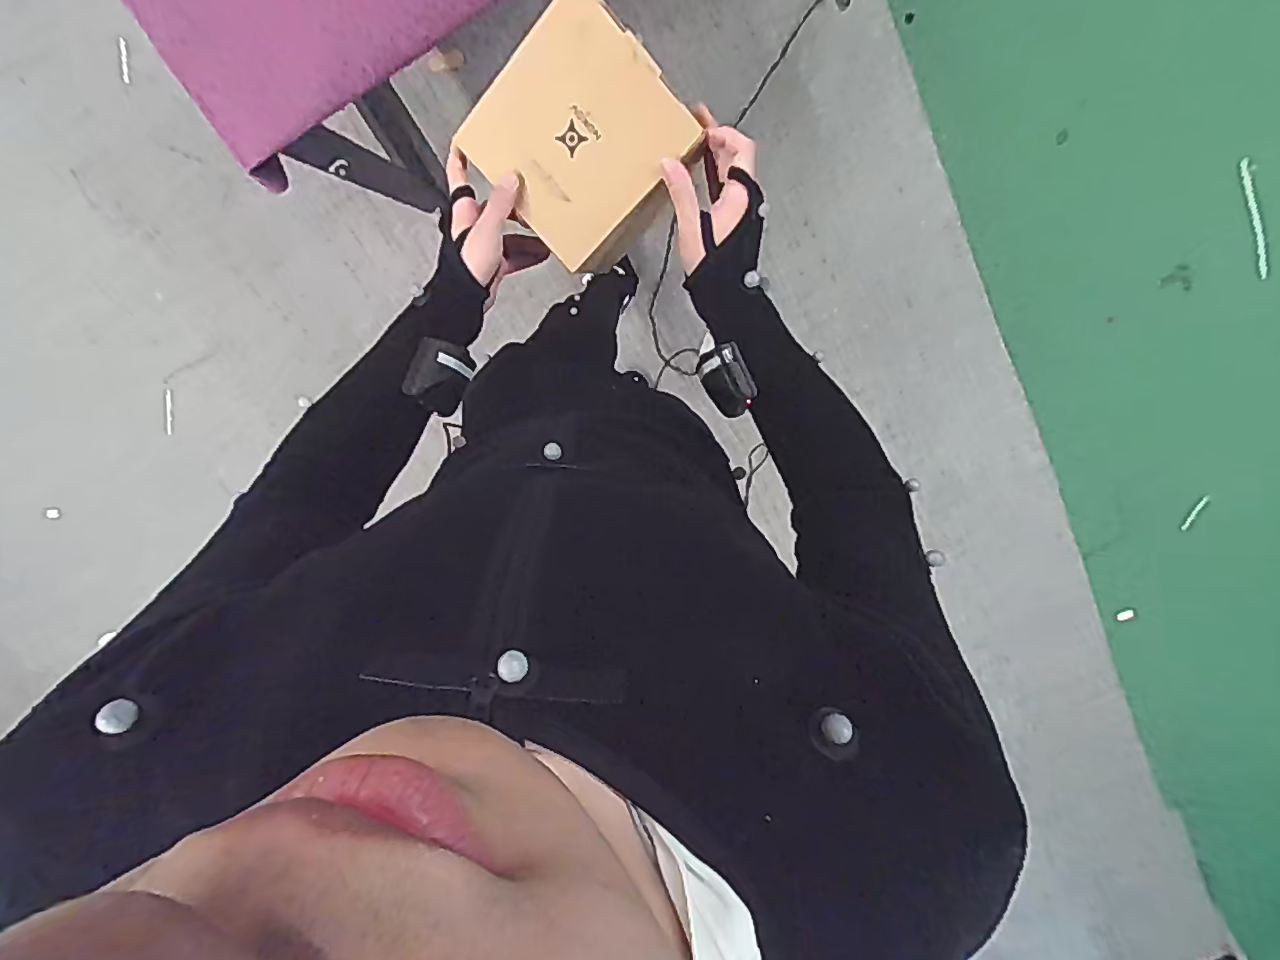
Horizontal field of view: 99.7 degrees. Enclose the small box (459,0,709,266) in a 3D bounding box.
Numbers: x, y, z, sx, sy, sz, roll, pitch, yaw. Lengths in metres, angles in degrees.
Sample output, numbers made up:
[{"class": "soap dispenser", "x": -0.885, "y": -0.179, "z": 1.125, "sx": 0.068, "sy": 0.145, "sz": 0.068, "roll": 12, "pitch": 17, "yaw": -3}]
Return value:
[{"class": "small box", "x": -0.045, "y": -0.348, "z": 0.563, "sx": 0.179, "sy": 0.176, "sz": 0.168, "roll": -39, "pitch": 100, "yaw": 20}]
